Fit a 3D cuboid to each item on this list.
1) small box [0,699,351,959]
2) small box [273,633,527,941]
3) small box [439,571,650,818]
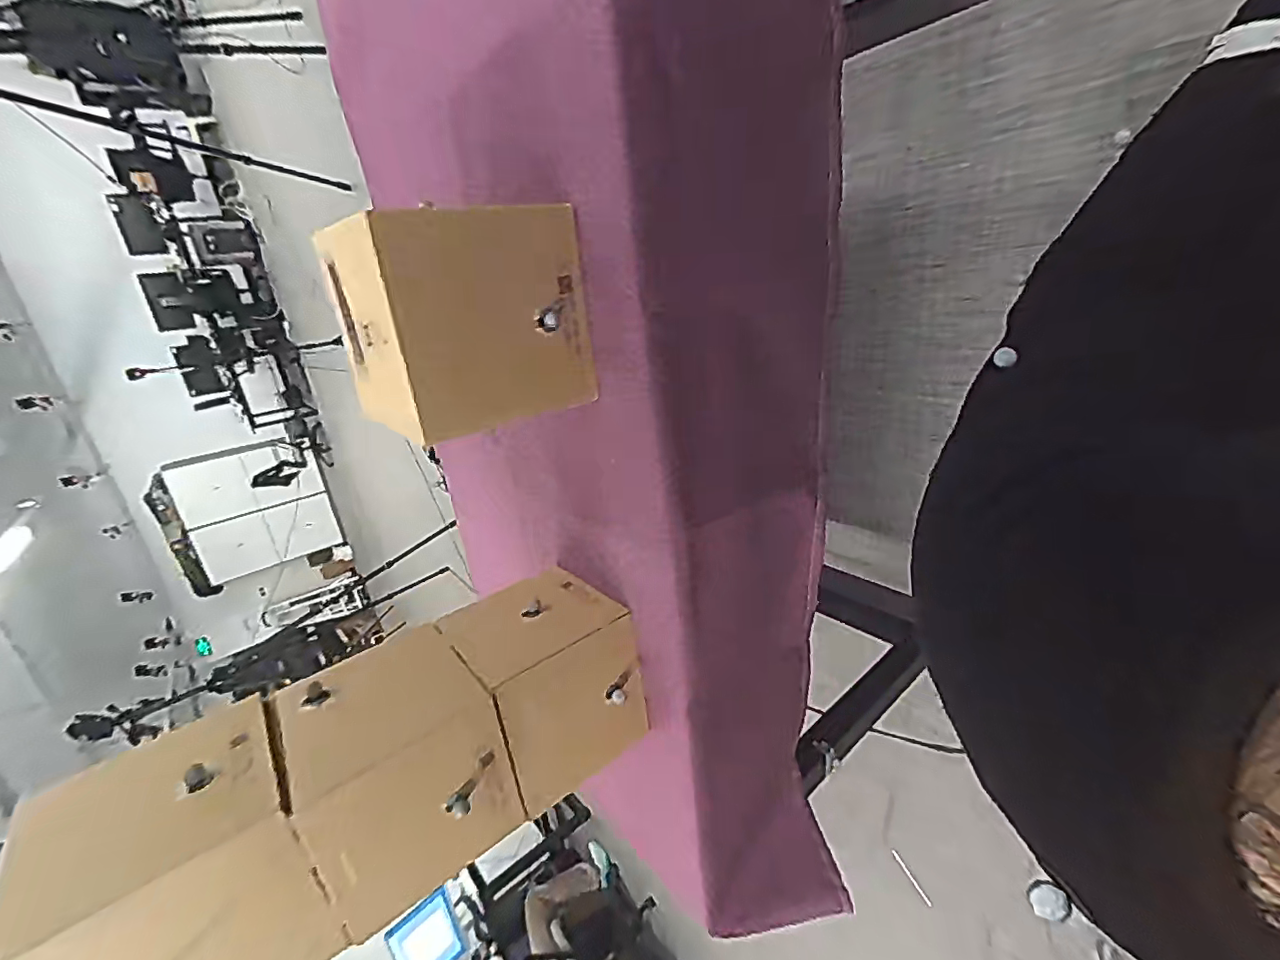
[{"bbox_3d":[-0.362,0.327,0.449,0.168,0.176,0.179,20,123,47],"label":"small box"},{"bbox_3d":[-0.235,0.280,0.543,0.179,0.176,0.168,18,123,48],"label":"small box"},{"bbox_3d":[-0.106,0.230,0.633,0.168,0.176,0.179,16,121,49],"label":"small box"}]
